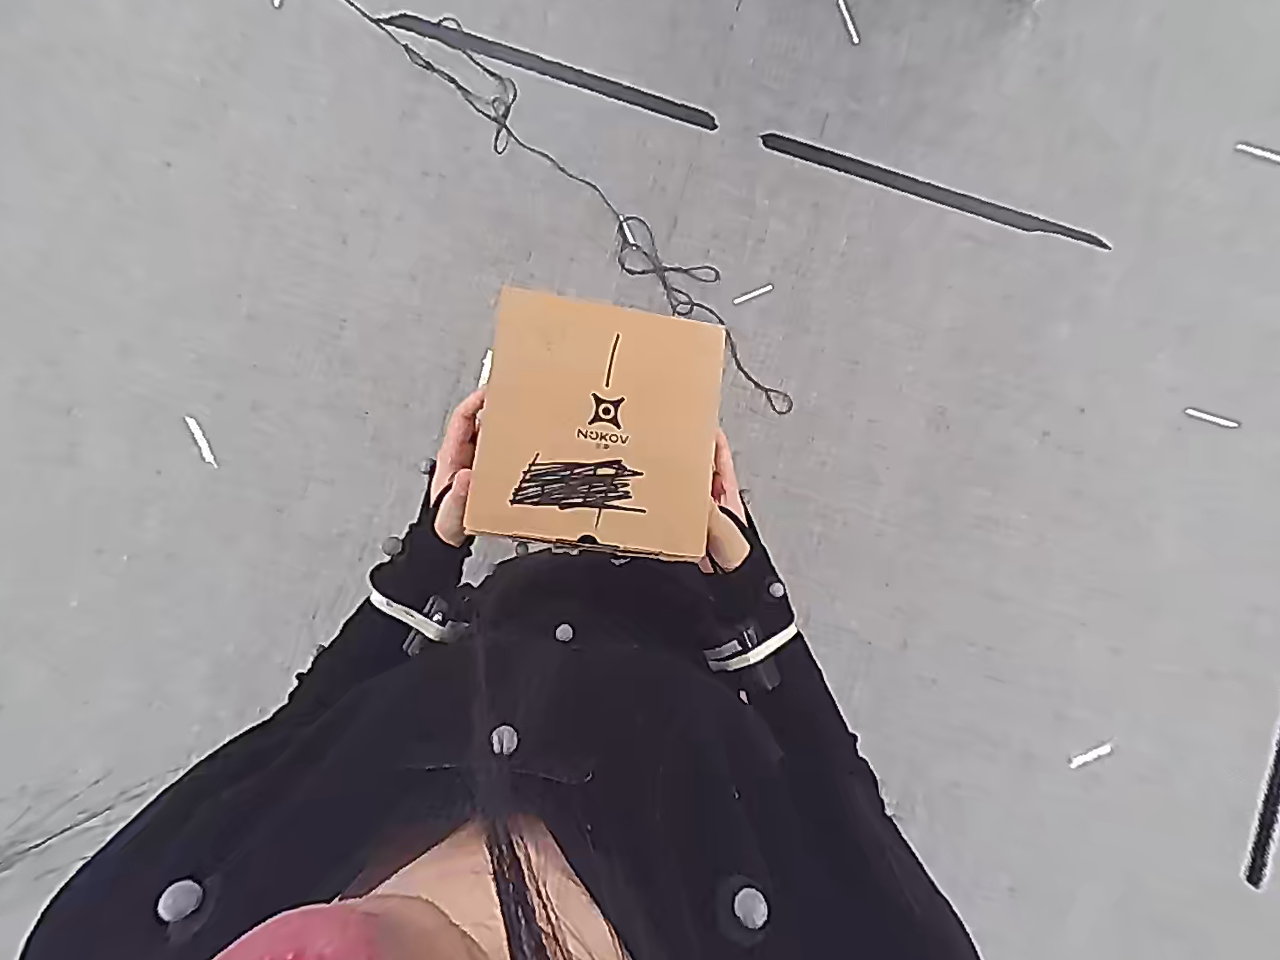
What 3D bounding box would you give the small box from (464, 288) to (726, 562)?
[{"bbox_3d":[-0.038,-0.029,0.456,0.168,0.176,0.179,8,81,-8],"label":"small box"}]
